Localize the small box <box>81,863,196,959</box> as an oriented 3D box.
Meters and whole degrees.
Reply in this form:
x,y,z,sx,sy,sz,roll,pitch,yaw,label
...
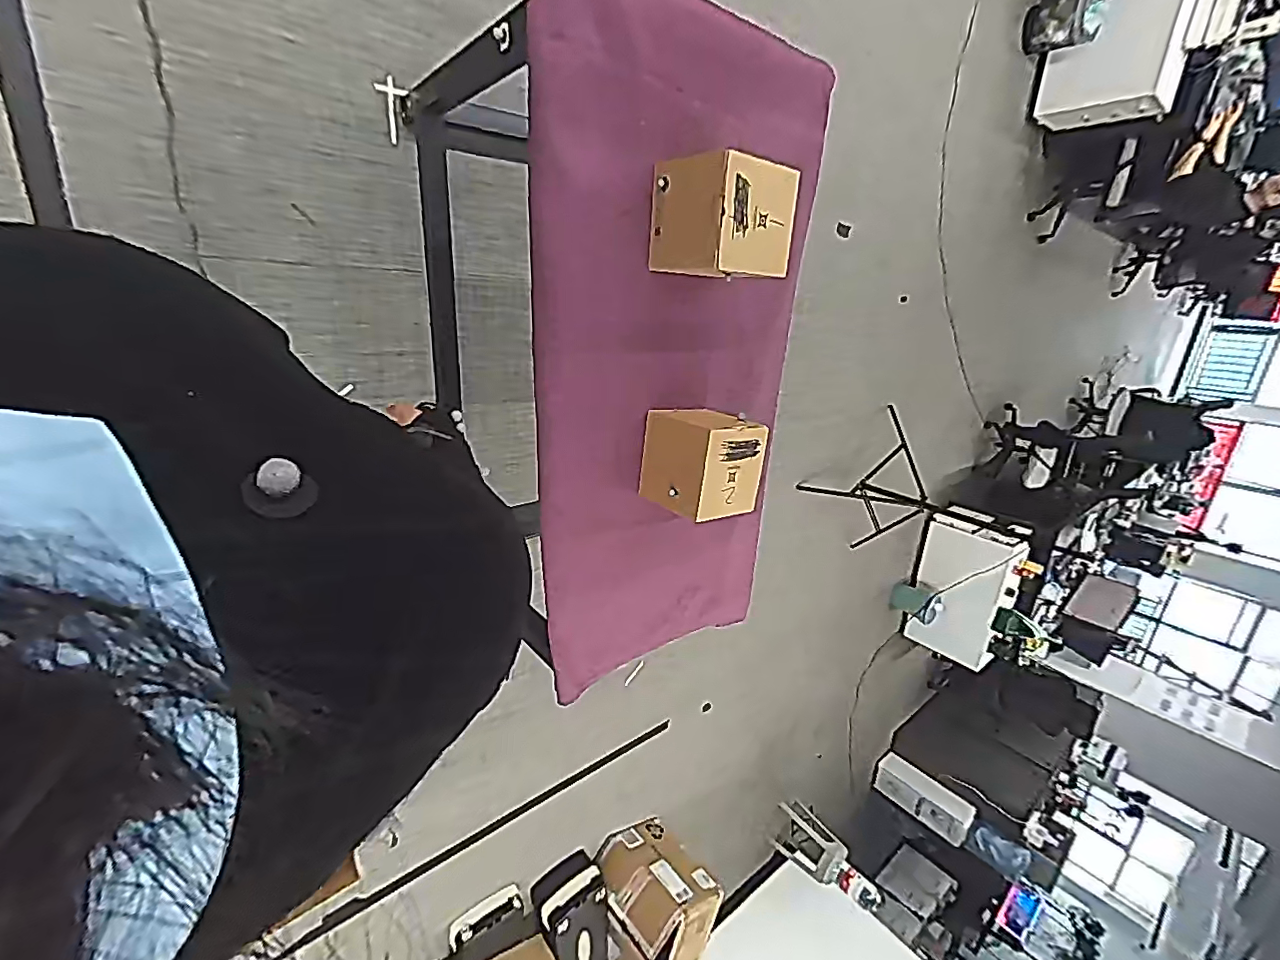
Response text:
x,y,z,sx,sy,sz,roll,pitch,yaw,label
-1.189,1.081,1.294,0.168,0.176,0.179,-17,117,-37,small box

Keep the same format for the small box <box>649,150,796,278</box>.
x,y,z,sx,sy,sz,roll,pitch,yaw,label
0.133,-0.436,0.915,0.179,0.176,0.168,-12,115,-38,small box
